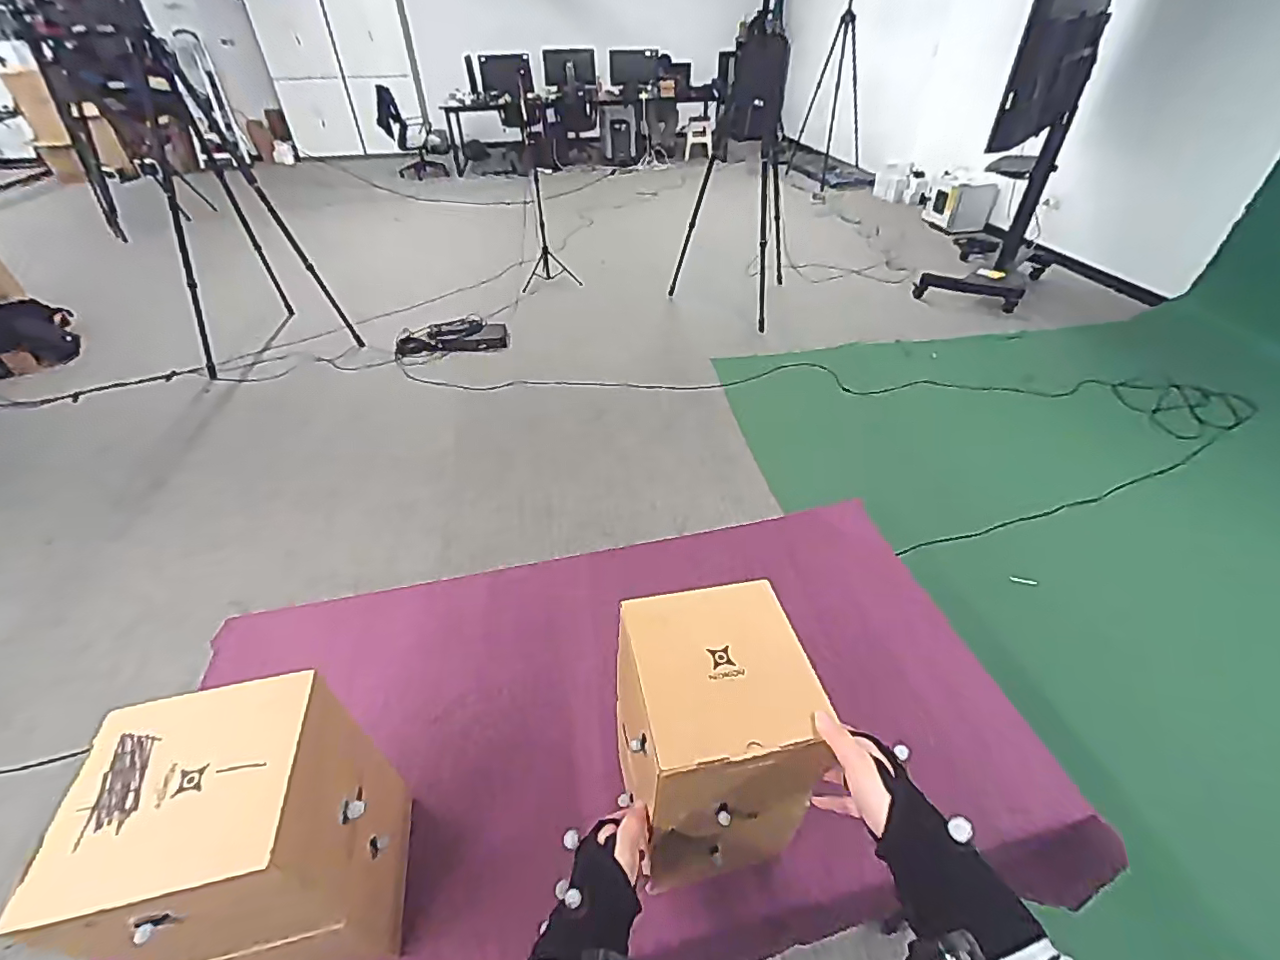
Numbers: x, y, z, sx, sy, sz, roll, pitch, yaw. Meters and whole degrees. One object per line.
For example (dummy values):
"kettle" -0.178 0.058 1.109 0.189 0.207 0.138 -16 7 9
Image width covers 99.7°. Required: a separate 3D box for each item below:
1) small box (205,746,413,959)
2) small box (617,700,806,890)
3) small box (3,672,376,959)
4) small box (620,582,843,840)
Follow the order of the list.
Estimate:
"small box" -0.364 0.433 0.600 0.168 0.176 0.179 -9 40 -9
"small box" 0.076 0.365 0.661 0.179 0.176 0.168 -10 41 -10
"small box" -0.369 0.308 0.493 0.179 0.176 0.168 -9 41 -9
"small box" 0.074 0.234 0.560 0.168 0.176 0.179 -6 41 -11
